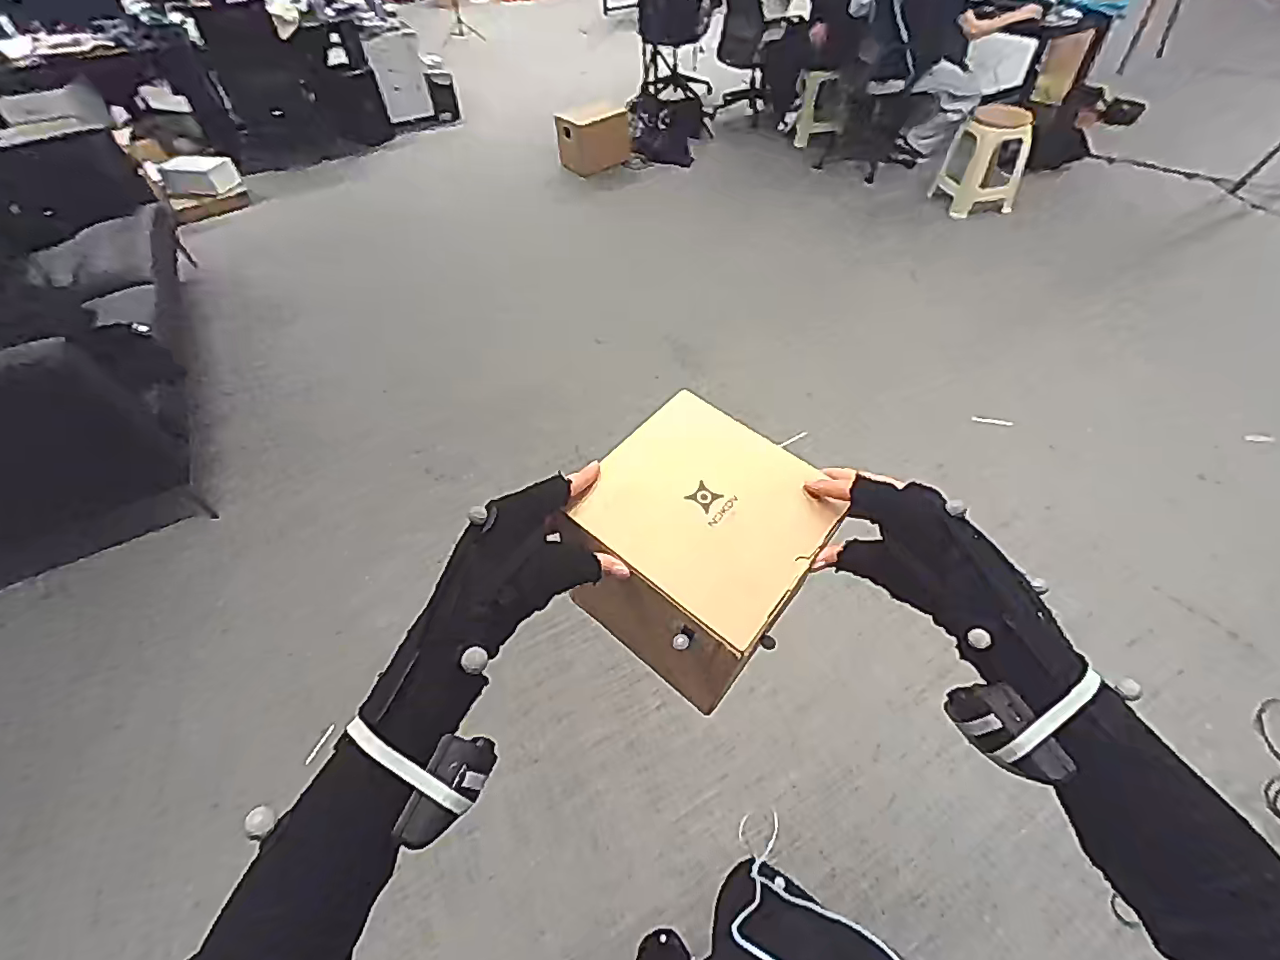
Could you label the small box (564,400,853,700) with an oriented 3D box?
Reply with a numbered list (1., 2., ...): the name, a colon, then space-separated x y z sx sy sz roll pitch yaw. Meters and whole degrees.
1. small box: 0.051 0.067 0.491 0.179 0.176 0.168 36 60 20
